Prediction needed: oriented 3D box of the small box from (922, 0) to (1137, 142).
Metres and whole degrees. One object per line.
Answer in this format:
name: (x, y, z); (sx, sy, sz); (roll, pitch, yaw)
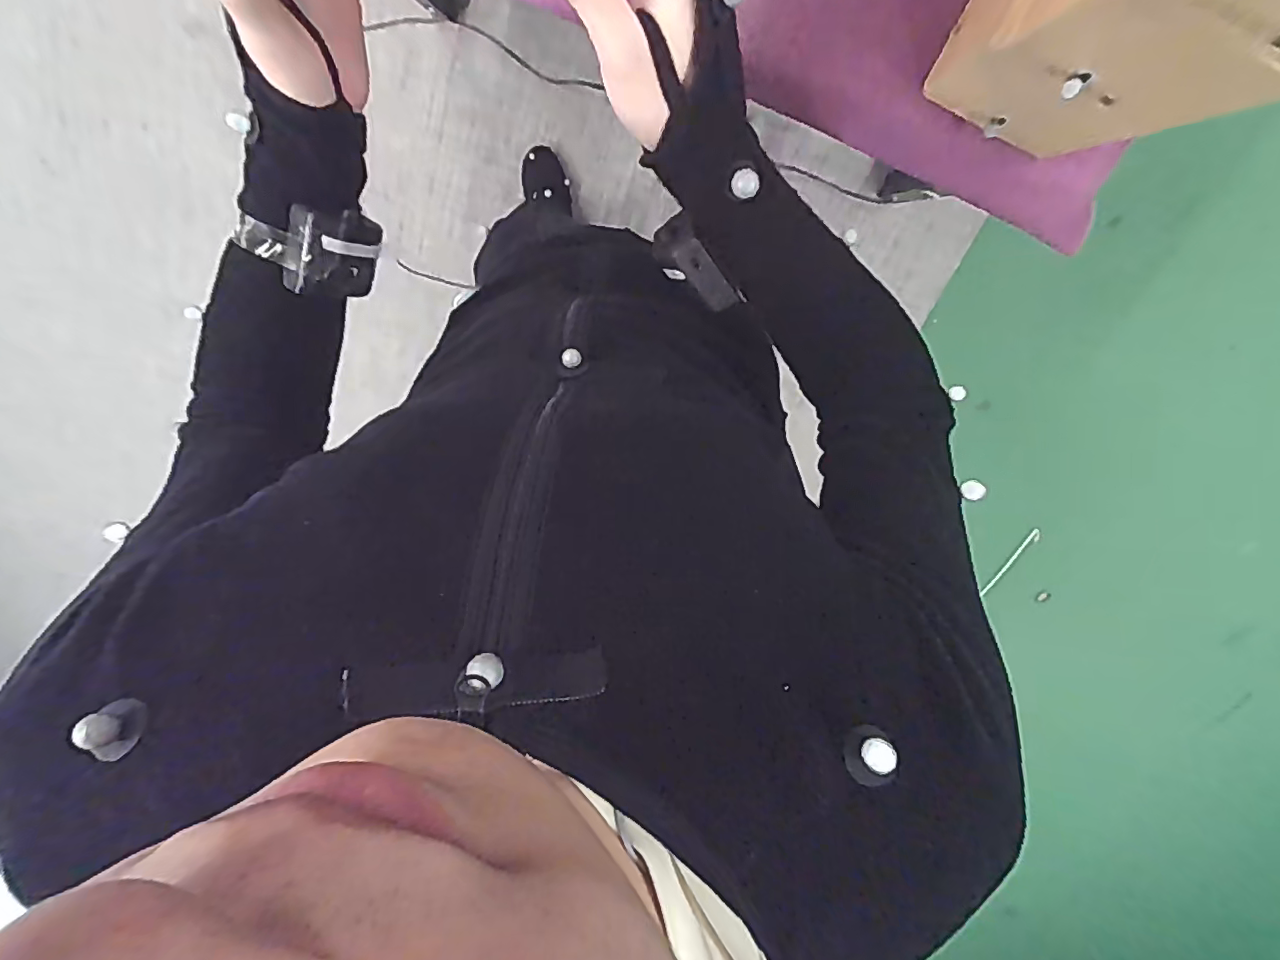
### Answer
small box: (0.436, -0.473, 0.551); (0.179, 0.176, 0.168); (24, 114, -6)

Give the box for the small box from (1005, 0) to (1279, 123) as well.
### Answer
small box: (0.427, -0.407, 0.402); (0.168, 0.176, 0.179); (24, 114, -5)
